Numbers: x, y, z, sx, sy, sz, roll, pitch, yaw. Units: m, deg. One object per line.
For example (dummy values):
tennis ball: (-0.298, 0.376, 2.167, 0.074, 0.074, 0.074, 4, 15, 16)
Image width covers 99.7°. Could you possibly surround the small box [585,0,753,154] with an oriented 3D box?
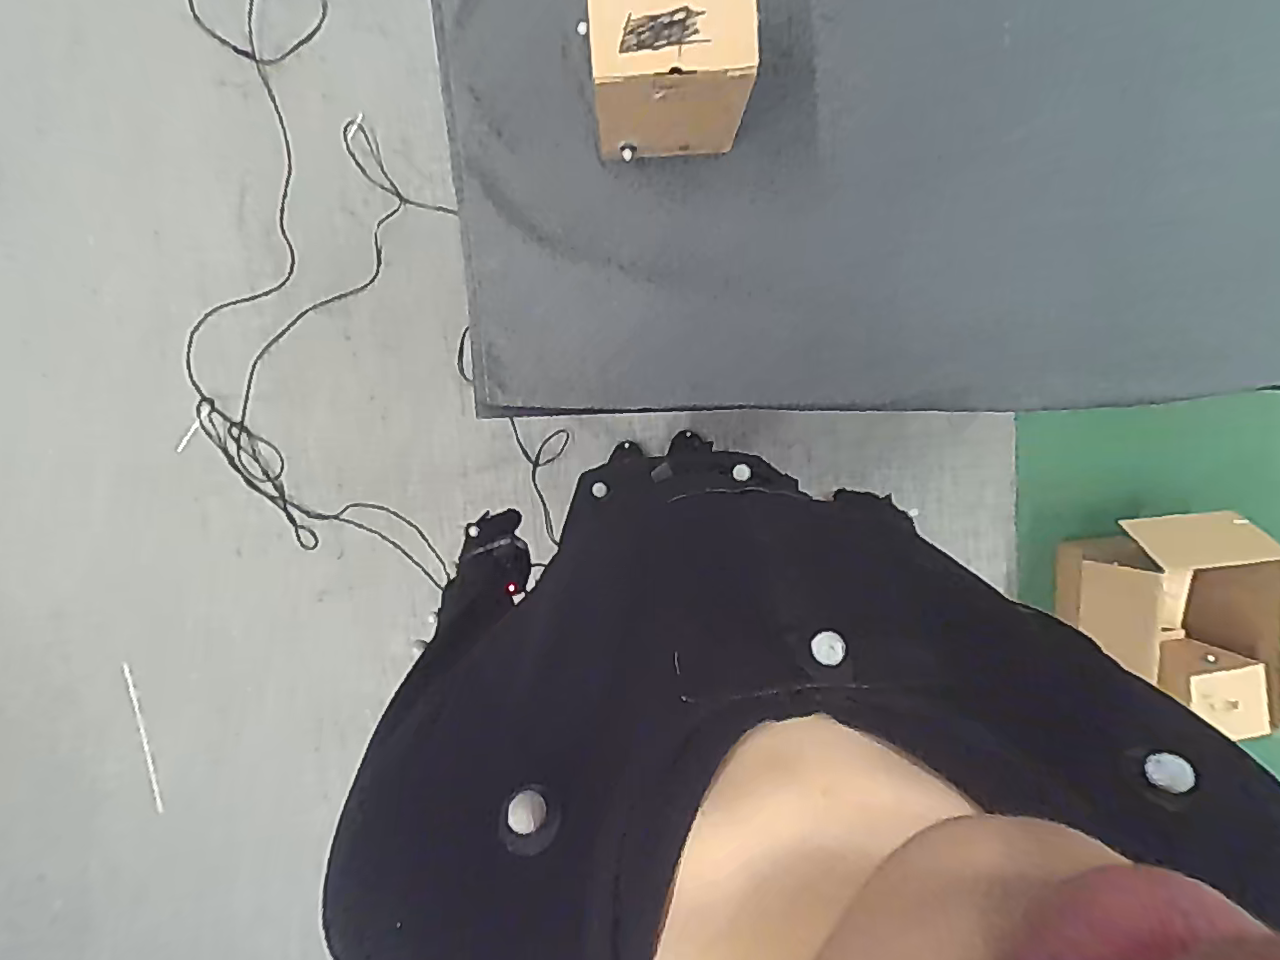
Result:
small box: (0.028, -0.490, 0.606, 0.168, 0.176, 0.179, -4, 96, 0)
